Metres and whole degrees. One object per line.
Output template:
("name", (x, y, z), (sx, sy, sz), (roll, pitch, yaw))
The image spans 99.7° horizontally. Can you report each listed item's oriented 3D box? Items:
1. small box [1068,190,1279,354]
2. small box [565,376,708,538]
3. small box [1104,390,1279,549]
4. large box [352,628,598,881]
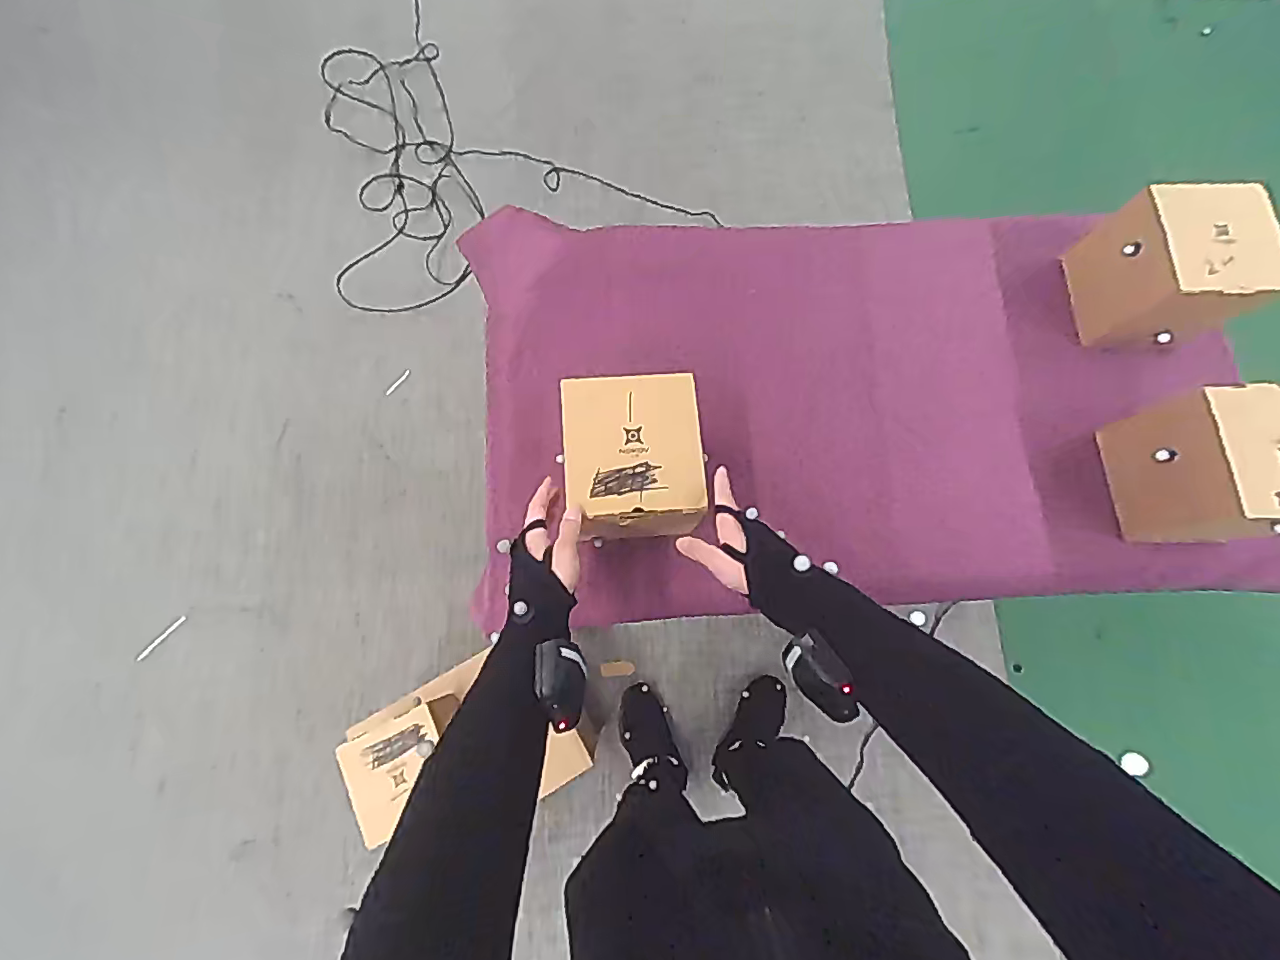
("small box", (0.807, -0.312, 0.830), (0.168, 0.176, 0.179), (-1, 76, 0))
("small box", (-0.008, -0.020, 0.720), (0.168, 0.176, 0.179), (-4, 74, -4))
("small box", (0.799, -0.009, 0.746), (0.168, 0.176, 0.179), (0, 72, -1))
("large box", (-0.343, 0.580, 1.229), (0.408, 0.320, 0.320), (-29, 78, -11))
